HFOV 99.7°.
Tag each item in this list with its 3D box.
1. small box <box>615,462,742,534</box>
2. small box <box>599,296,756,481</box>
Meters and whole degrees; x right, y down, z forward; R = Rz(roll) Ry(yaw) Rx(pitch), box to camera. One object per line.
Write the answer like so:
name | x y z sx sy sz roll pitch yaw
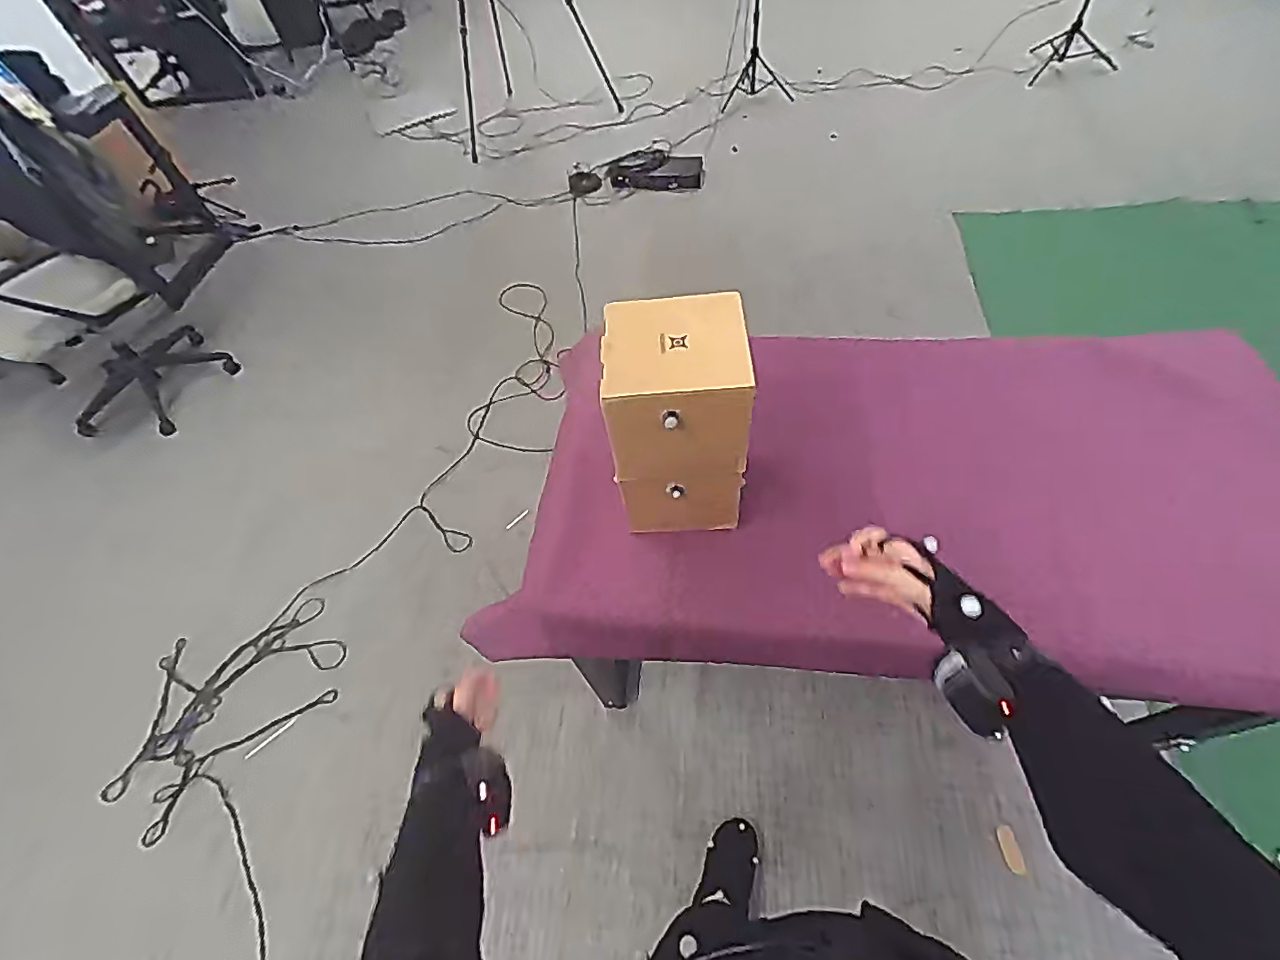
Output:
small box | 0.062 -0.024 0.842 0.179 0.176 0.168 -2 55 5
small box | 0.049 -0.113 0.707 0.179 0.176 0.168 -4 56 6
